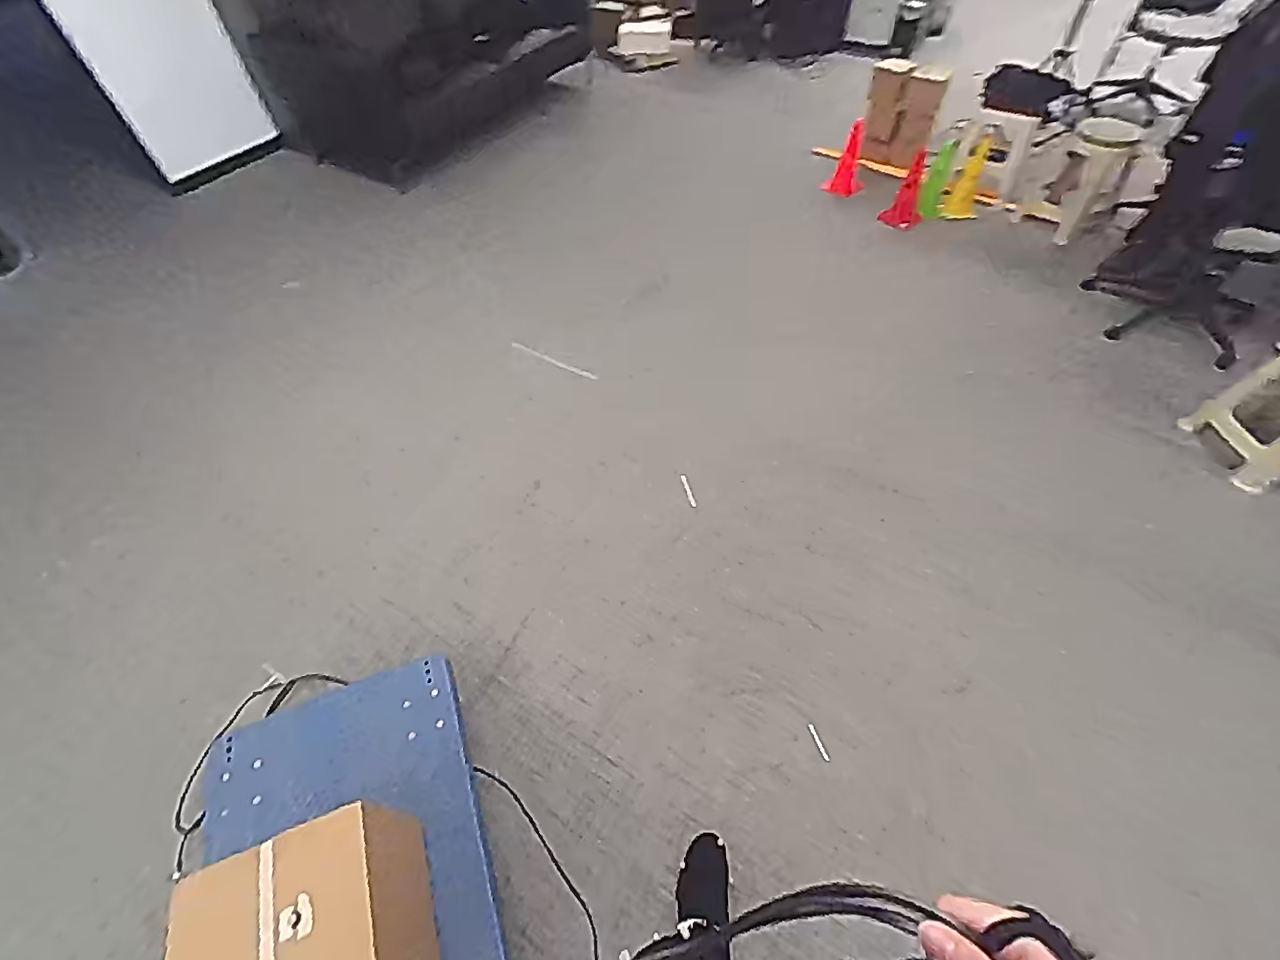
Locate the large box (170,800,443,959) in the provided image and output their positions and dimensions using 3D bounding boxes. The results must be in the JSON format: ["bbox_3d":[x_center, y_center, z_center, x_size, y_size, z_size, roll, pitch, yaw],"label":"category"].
[{"bbox_3d":[-0.558,0.860,0.949,0.320,0.320,0.408,-19,54,-13],"label":"large box"}]
